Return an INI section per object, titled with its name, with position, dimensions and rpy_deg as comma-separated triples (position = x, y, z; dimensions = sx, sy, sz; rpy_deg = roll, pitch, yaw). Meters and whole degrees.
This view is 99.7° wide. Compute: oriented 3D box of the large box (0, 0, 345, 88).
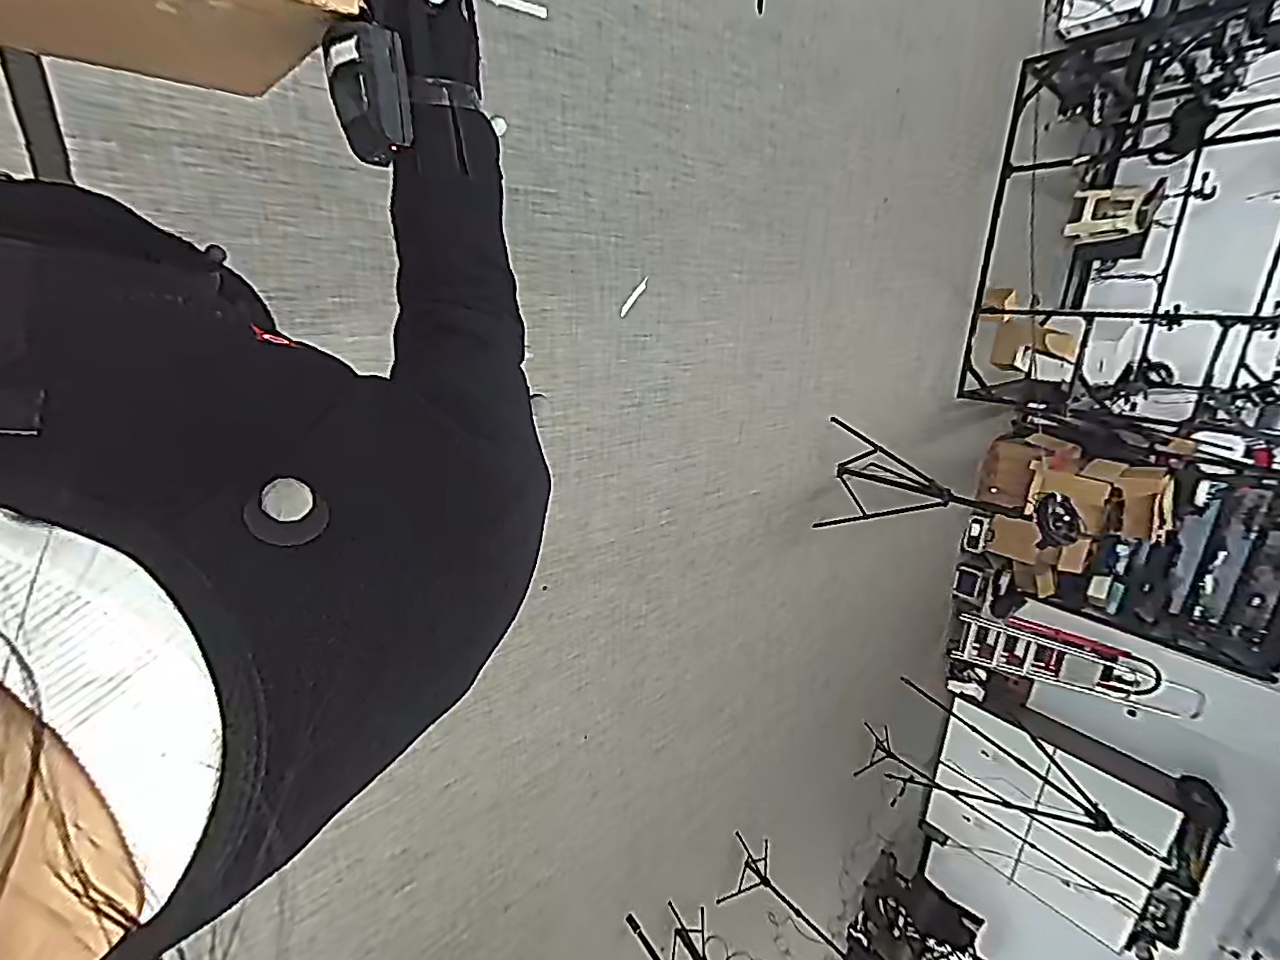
[large box]
position = -0.408, -0.416, 0.232
dimensions = 0.408, 0.320, 0.320
rpy_deg = -16, 121, -39
